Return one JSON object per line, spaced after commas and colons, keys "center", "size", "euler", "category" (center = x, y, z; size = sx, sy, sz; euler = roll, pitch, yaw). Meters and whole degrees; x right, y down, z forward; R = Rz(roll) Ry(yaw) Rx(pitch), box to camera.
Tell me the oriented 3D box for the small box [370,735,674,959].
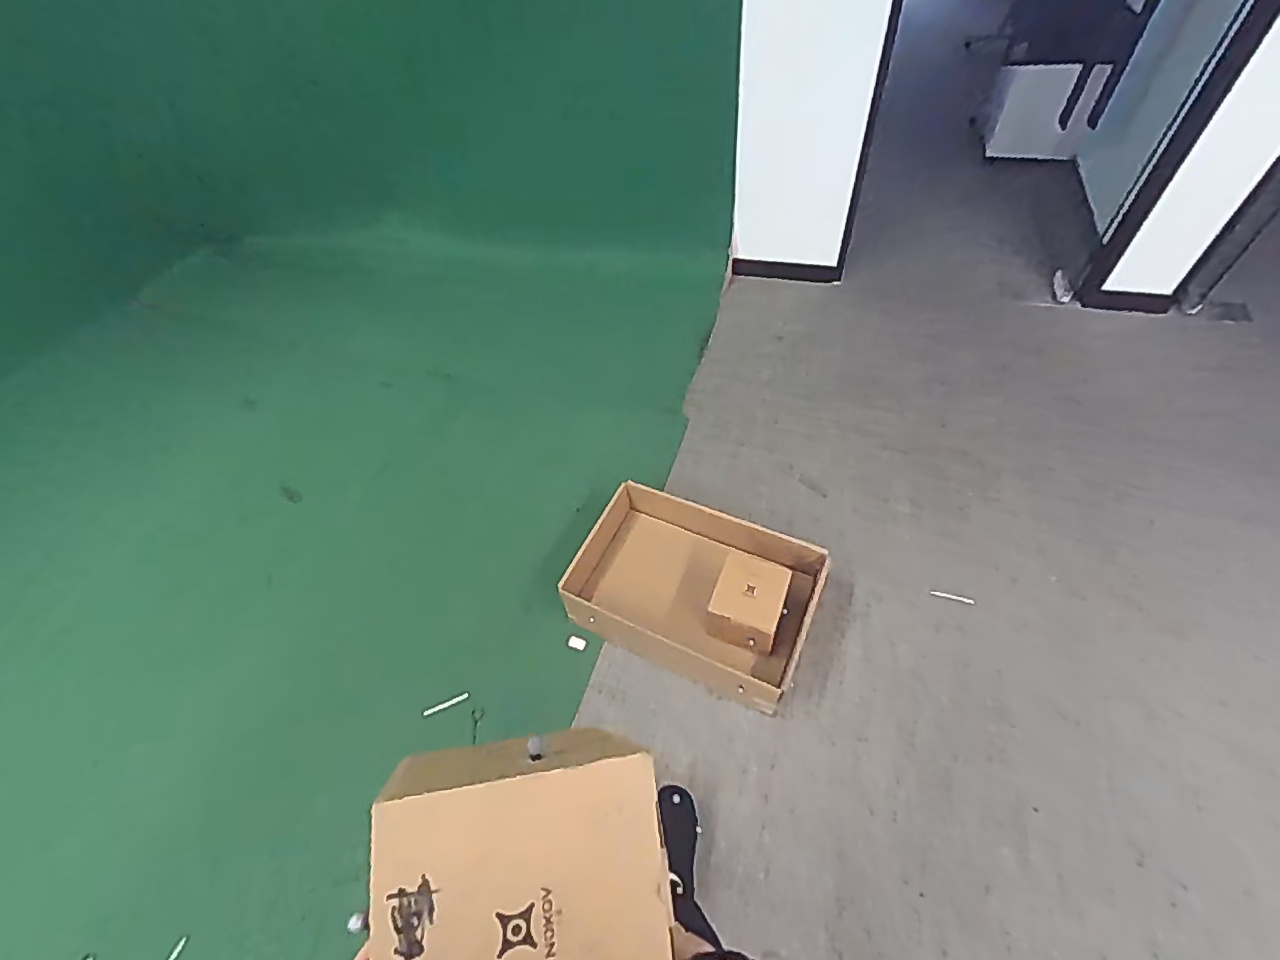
{"center": [-0.090, 0.291, 0.391], "size": [0.179, 0.176, 0.168], "euler": [0, 71, -20], "category": "small box"}
